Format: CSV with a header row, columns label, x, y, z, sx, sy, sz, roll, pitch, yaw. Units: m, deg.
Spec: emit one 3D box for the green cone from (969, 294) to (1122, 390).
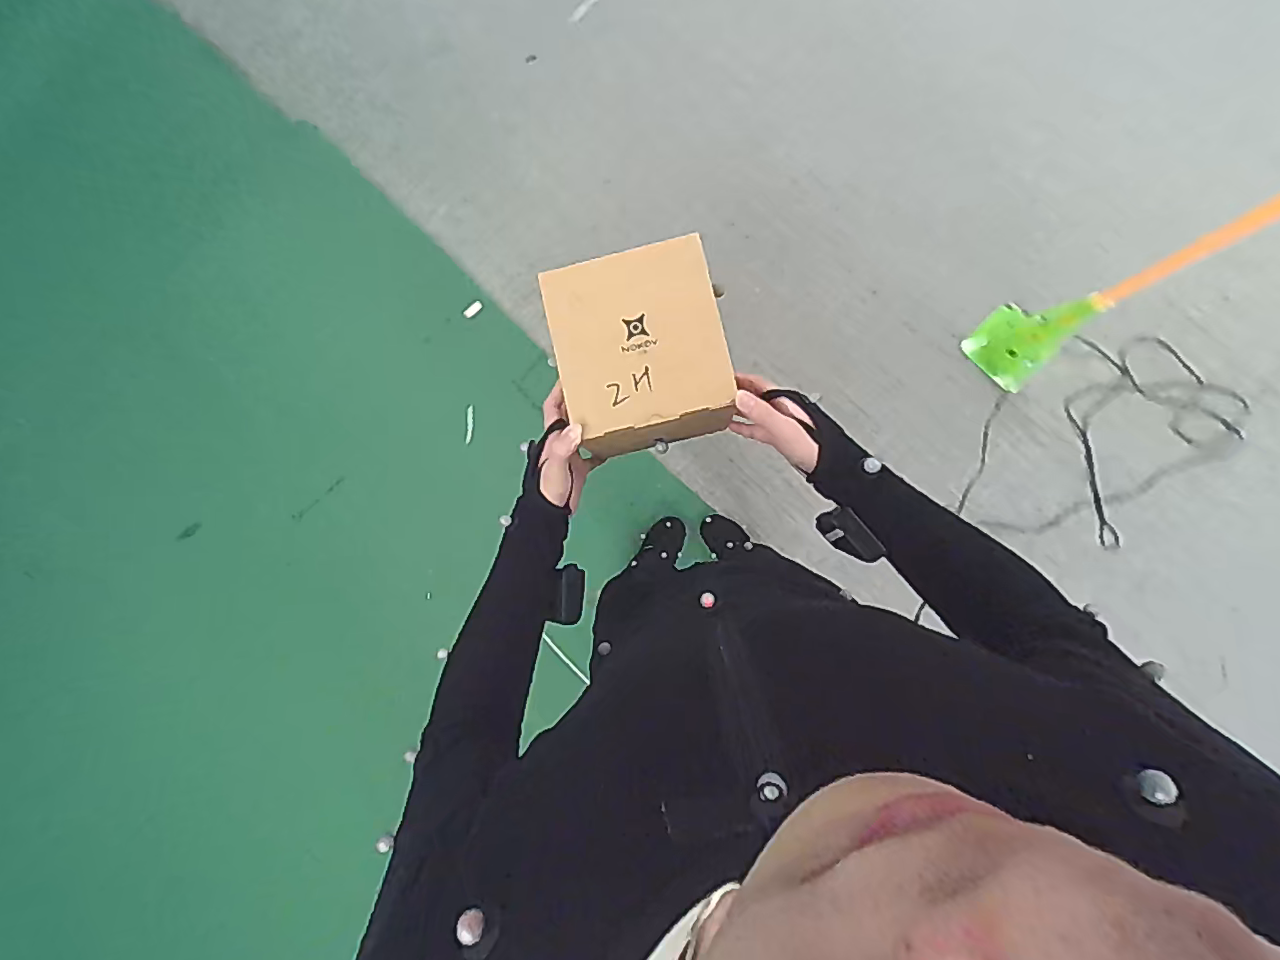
label,x,y,z,sx,sy,sz,roll,pitch,yaw
green cone,1.059,-0.390,1.375,0.202,0.368,0.200,45,93,5
